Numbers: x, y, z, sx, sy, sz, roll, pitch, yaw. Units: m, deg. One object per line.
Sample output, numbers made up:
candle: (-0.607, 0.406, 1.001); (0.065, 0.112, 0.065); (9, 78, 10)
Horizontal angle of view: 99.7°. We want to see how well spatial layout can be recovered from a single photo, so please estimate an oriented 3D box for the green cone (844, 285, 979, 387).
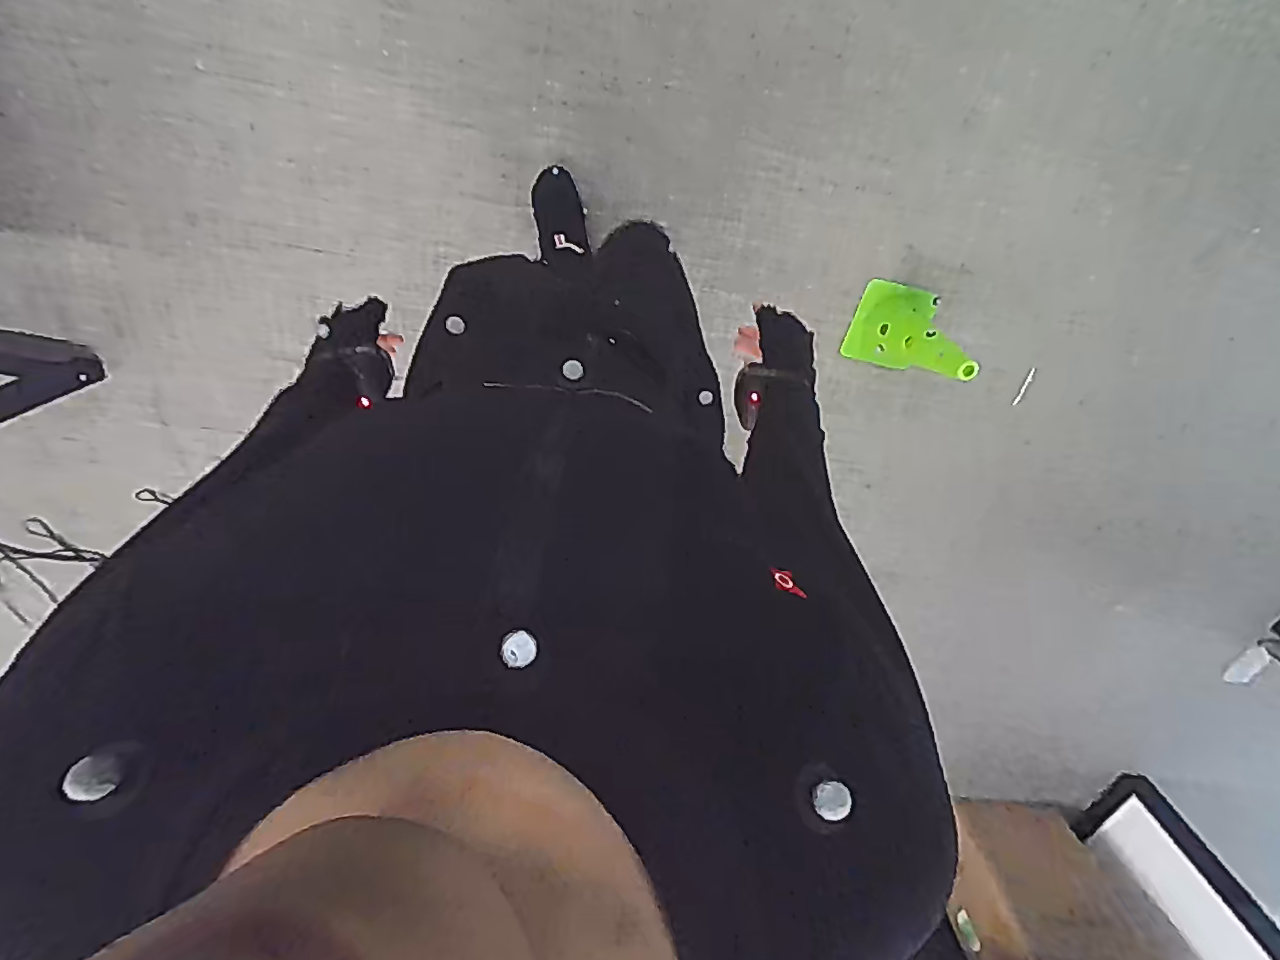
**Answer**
green cone: (0.649, -0.298, 1.232); (0.200, 0.368, 0.202); (10, 119, -8)
